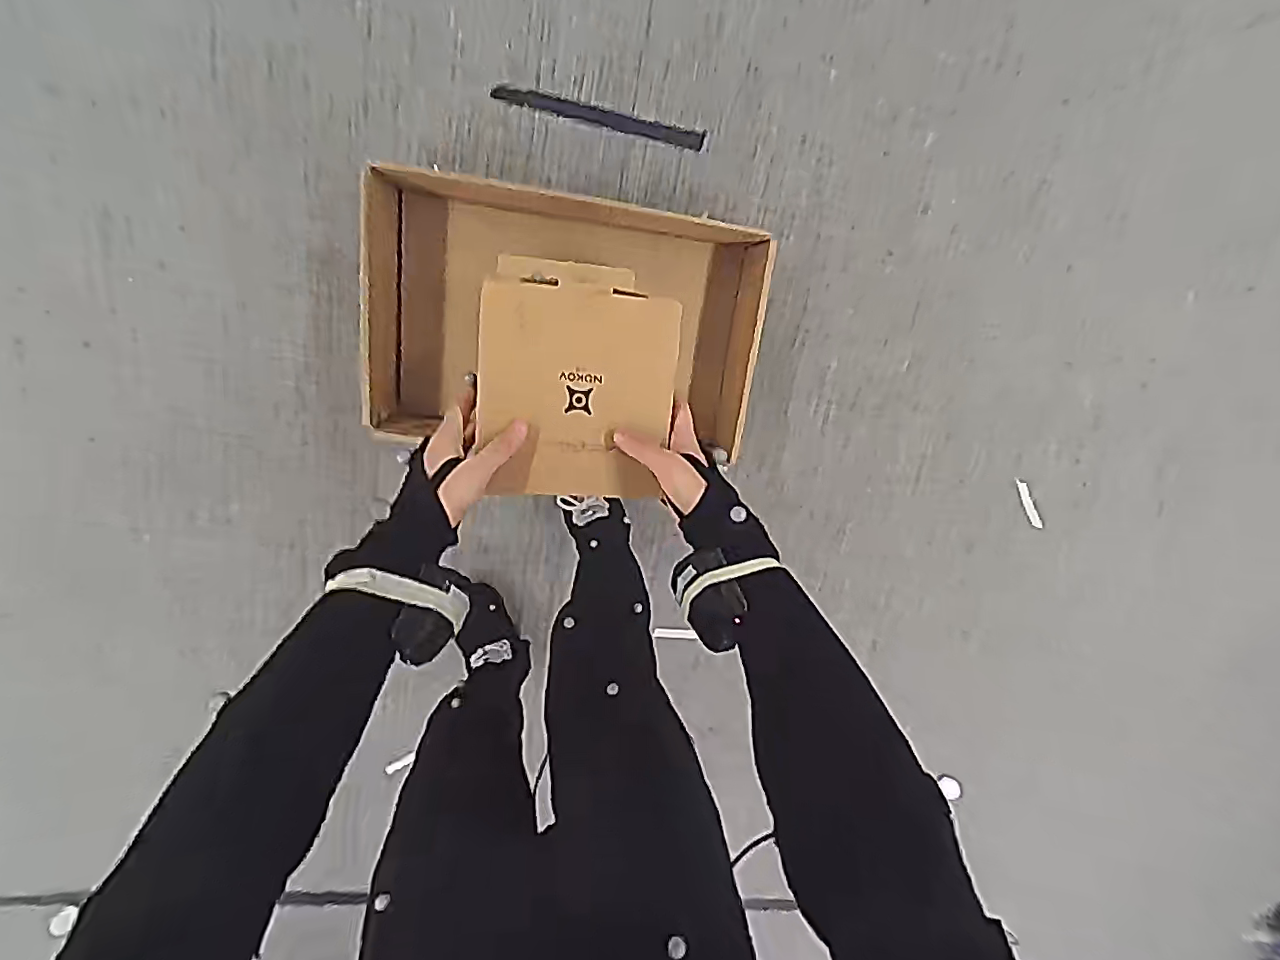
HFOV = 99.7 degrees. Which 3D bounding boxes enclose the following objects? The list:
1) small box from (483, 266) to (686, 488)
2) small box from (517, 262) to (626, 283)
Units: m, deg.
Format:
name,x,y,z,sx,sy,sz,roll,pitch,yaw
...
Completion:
name,x,y,z,sx,sy,sz,roll,pitch,yaw
small box,-0.065,-0.100,0.535,0.168,0.176,0.179,2,105,-14
small box,-0.121,-0.253,0.898,0.168,0.176,0.179,4,107,-9
